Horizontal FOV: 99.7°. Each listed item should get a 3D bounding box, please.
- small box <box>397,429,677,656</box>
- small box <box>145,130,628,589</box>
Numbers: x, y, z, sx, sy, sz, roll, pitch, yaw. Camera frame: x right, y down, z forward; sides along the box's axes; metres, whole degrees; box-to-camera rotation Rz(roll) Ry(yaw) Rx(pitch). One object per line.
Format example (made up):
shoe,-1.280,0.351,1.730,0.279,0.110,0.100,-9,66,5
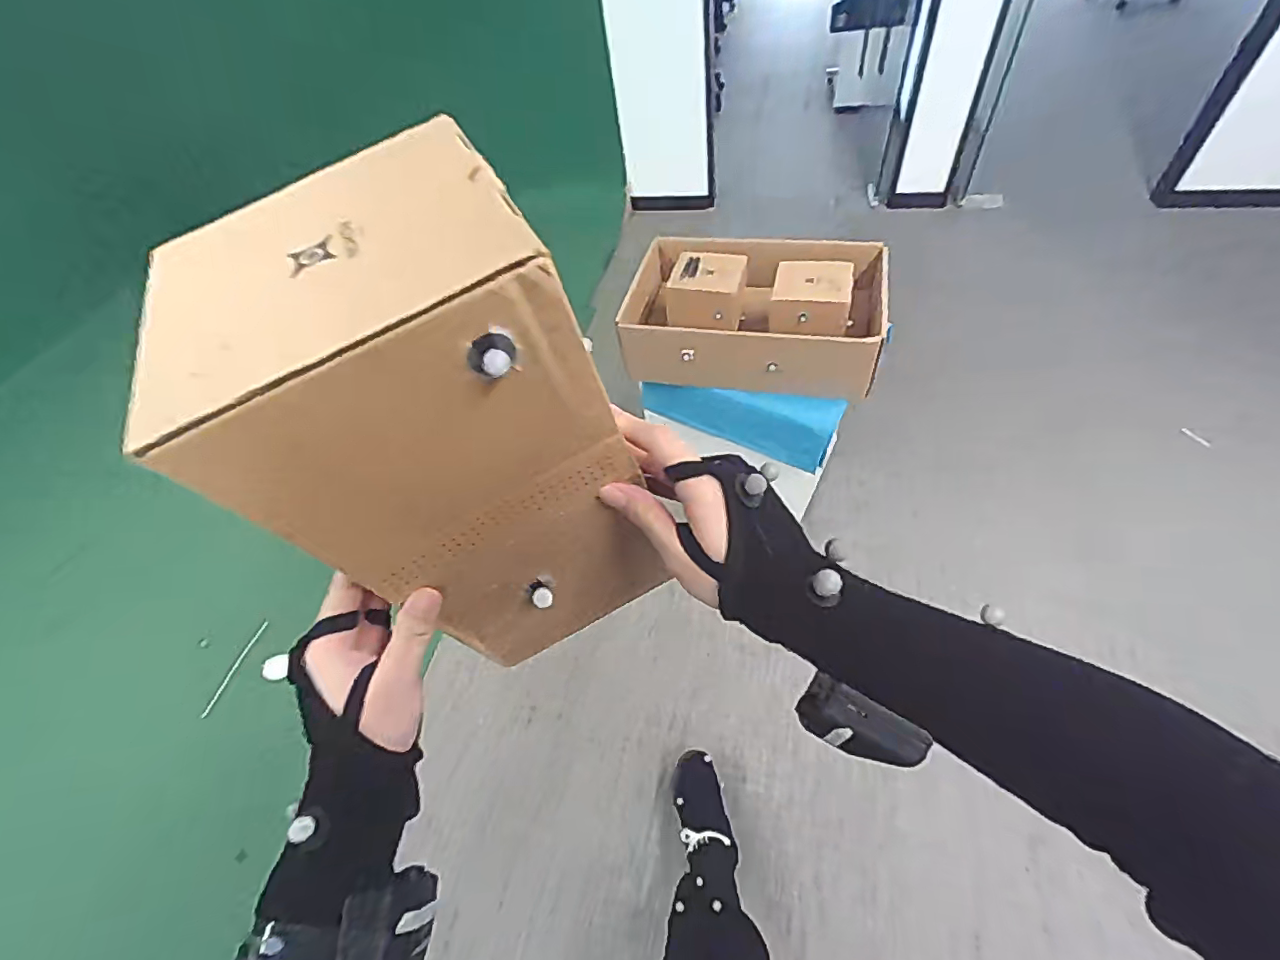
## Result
small box,-0.089,0.023,0.457,0.179,0.176,0.168,-28,55,-3
small box,-0.129,-0.062,0.325,0.179,0.176,0.168,-28,55,-5
